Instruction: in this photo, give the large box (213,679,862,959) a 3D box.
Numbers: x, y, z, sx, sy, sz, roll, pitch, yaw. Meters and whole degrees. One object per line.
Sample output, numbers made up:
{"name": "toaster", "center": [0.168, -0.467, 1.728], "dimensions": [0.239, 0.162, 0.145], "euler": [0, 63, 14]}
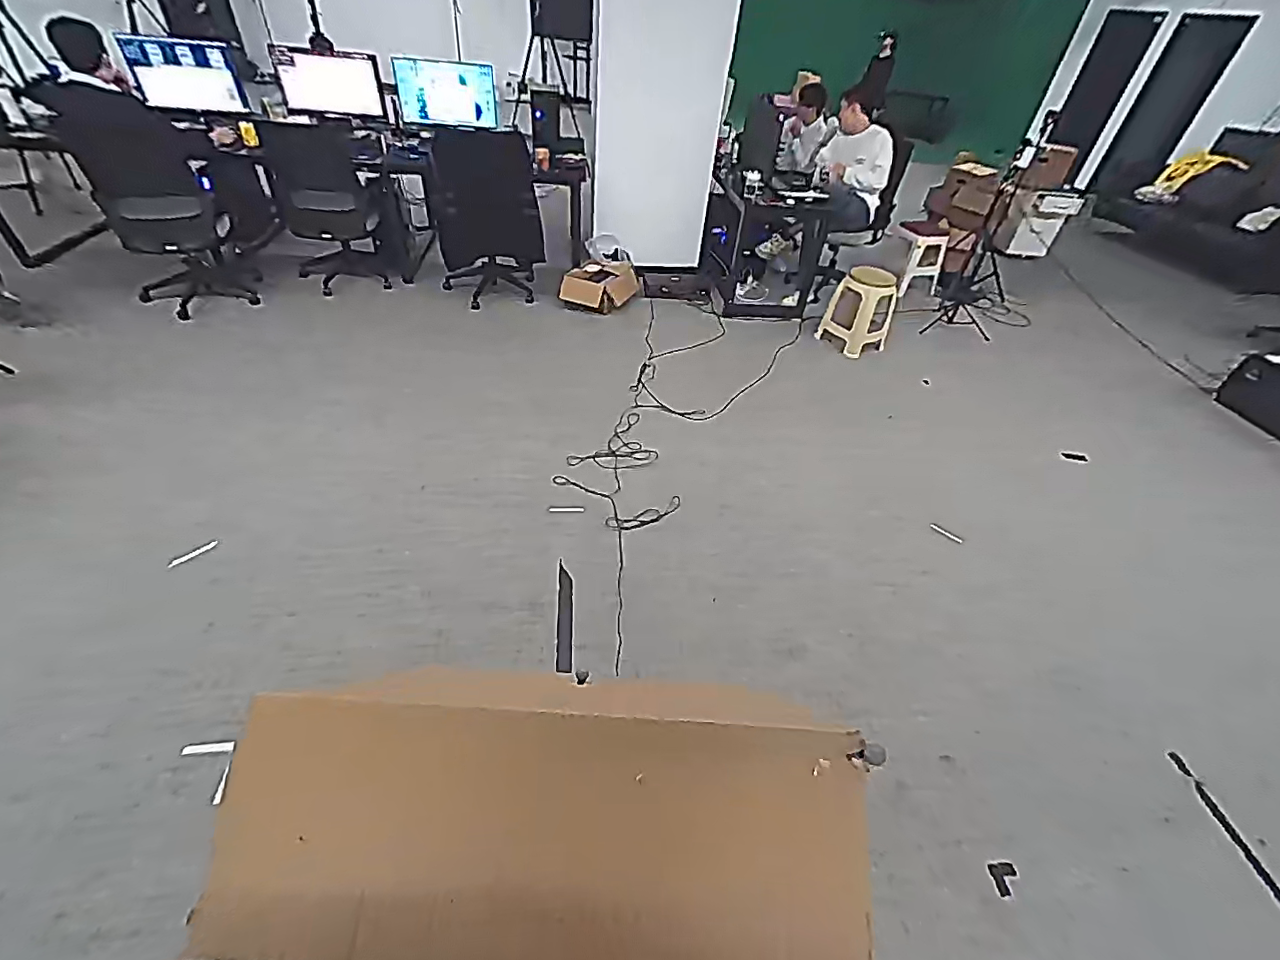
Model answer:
{"name": "large box", "center": [-0.064, 0.349, 0.466], "dimensions": [0.408, 0.320, 0.320], "euler": [3, 75, 2]}
